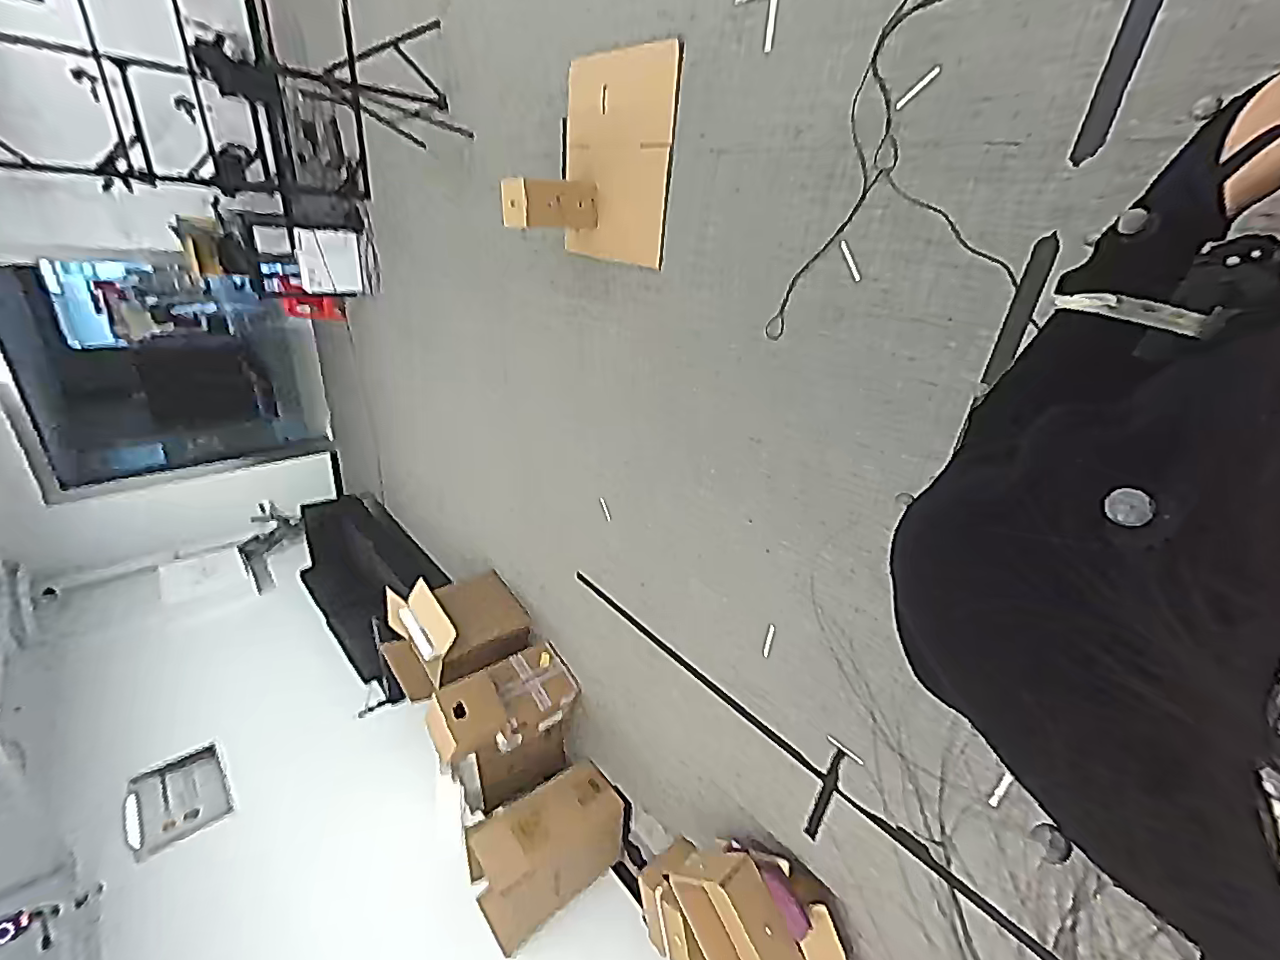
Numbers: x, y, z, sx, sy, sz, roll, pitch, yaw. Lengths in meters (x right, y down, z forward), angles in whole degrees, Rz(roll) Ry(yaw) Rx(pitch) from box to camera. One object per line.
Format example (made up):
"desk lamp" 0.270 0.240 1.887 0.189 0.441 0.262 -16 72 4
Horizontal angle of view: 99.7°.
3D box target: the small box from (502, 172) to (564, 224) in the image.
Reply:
"small box" -0.410 -1.079 2.079 0.179 0.176 0.168 25 123 43

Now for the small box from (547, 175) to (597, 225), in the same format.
"small box" -0.285 -1.123 2.178 0.179 0.176 0.168 22 120 43
